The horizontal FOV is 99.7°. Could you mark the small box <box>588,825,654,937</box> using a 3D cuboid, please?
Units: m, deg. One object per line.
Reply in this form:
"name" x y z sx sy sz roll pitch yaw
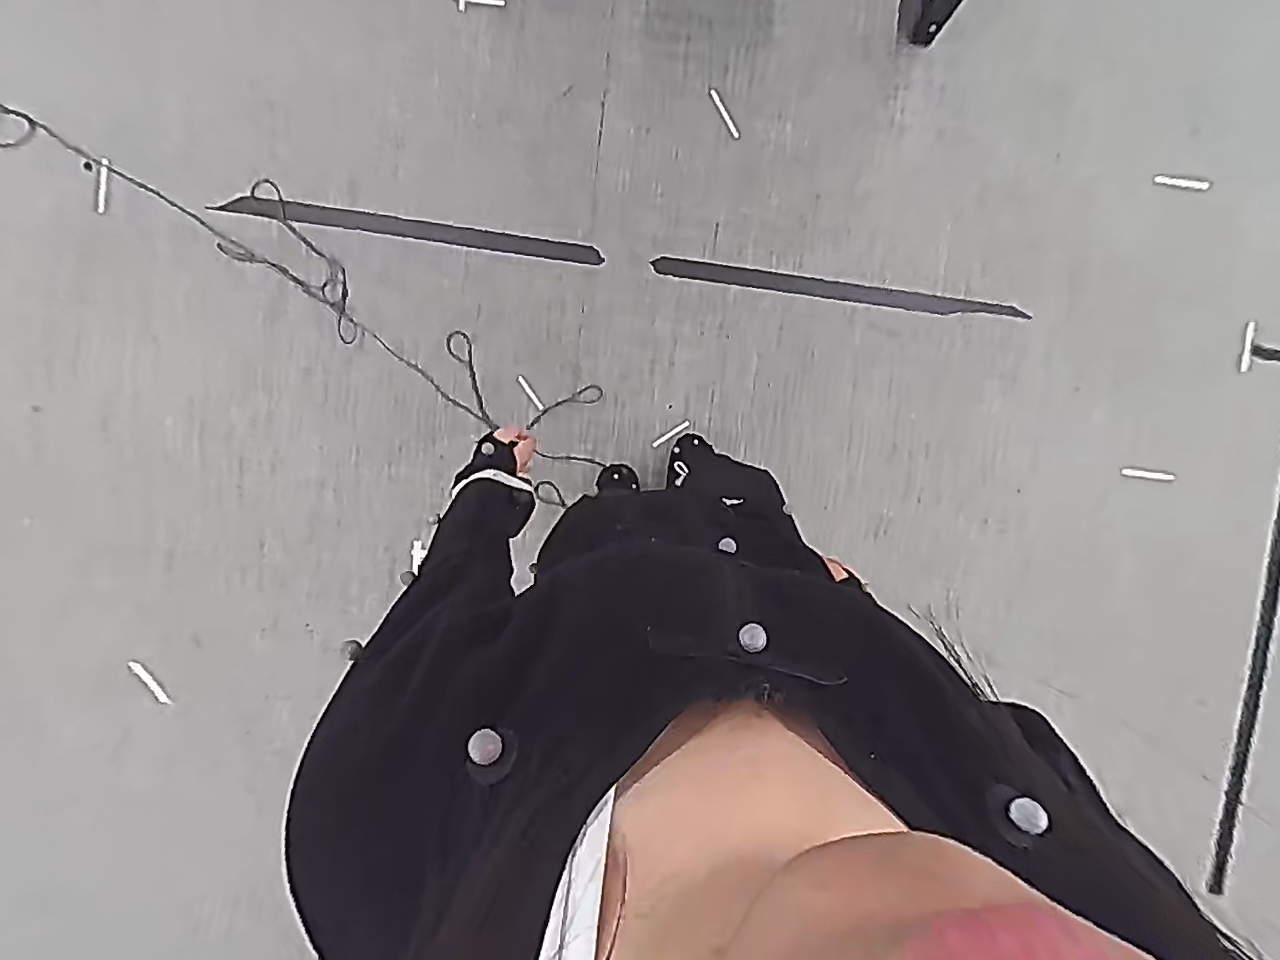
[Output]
"small box" -0.050 1.073 1.457 0.168 0.176 0.179 -3 93 -3
